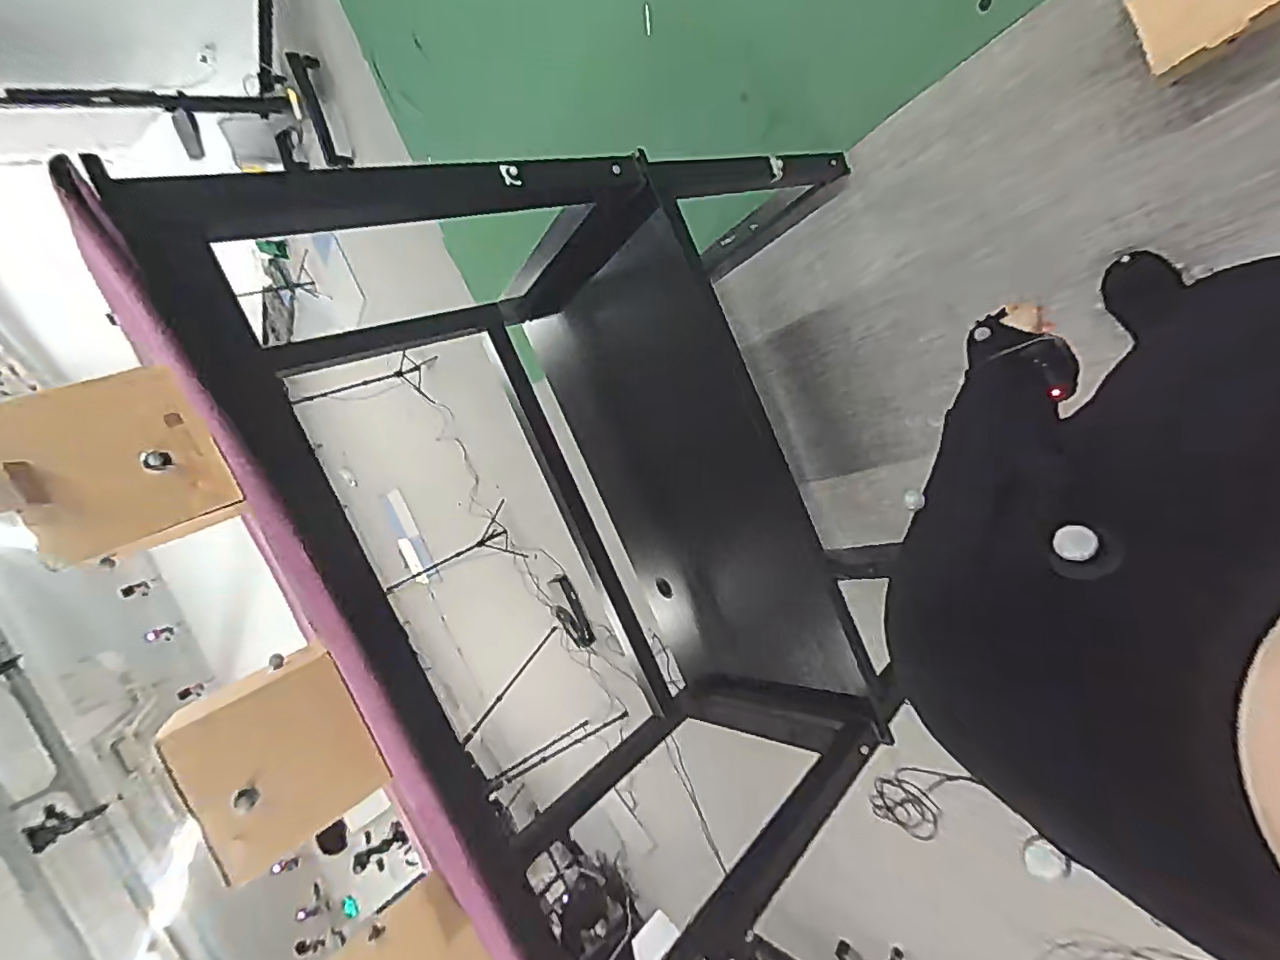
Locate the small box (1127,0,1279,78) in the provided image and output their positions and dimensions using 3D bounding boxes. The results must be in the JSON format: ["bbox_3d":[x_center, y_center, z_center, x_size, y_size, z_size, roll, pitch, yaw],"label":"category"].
[{"bbox_3d":[0.886,-0.762,0.831,0.168,0.176,0.179,-20,96,55],"label":"small box"}]

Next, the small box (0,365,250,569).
[{"bbox_3d":[-0.572,-0.013,0.615,0.179,0.176,0.168,-12,104,55],"label":"small box"}]

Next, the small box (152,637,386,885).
[{"bbox_3d":[-0.429,0.316,0.650,0.168,0.176,0.179,-16,98,55],"label":"small box"}]

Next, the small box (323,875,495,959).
[{"bbox_3d":[-0.267,0.627,0.648,0.179,0.176,0.168,-24,94,53],"label":"small box"}]
